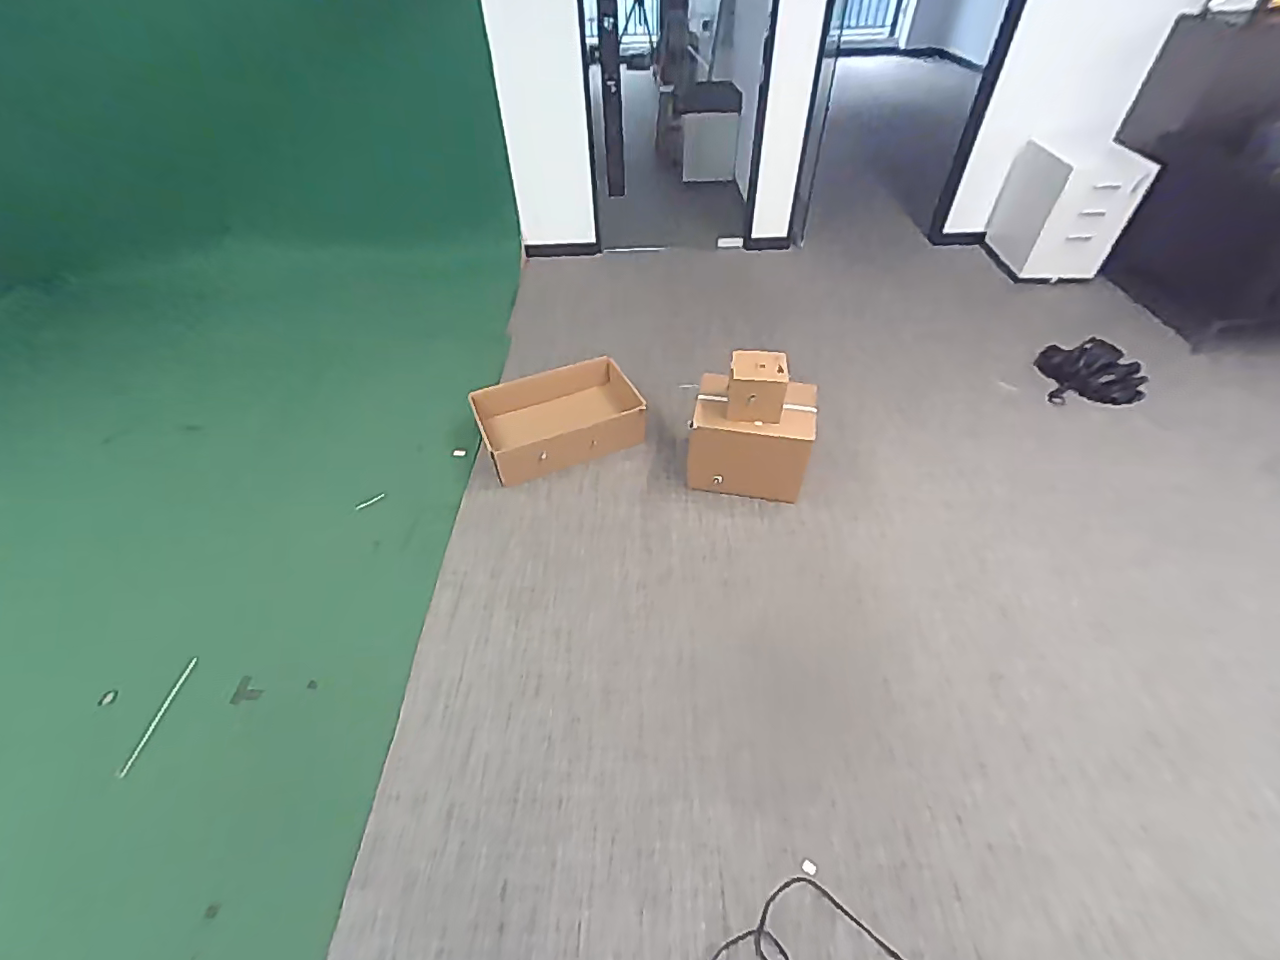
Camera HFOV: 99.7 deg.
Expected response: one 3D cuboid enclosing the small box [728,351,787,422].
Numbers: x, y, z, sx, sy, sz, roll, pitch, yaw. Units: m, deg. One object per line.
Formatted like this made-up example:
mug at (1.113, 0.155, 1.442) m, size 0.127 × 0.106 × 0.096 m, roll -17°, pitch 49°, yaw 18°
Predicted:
small box at (0.384, -0.308, 1.794) m, size 0.179 × 0.176 × 0.168 m, roll 4°, pitch 47°, yaw 6°
